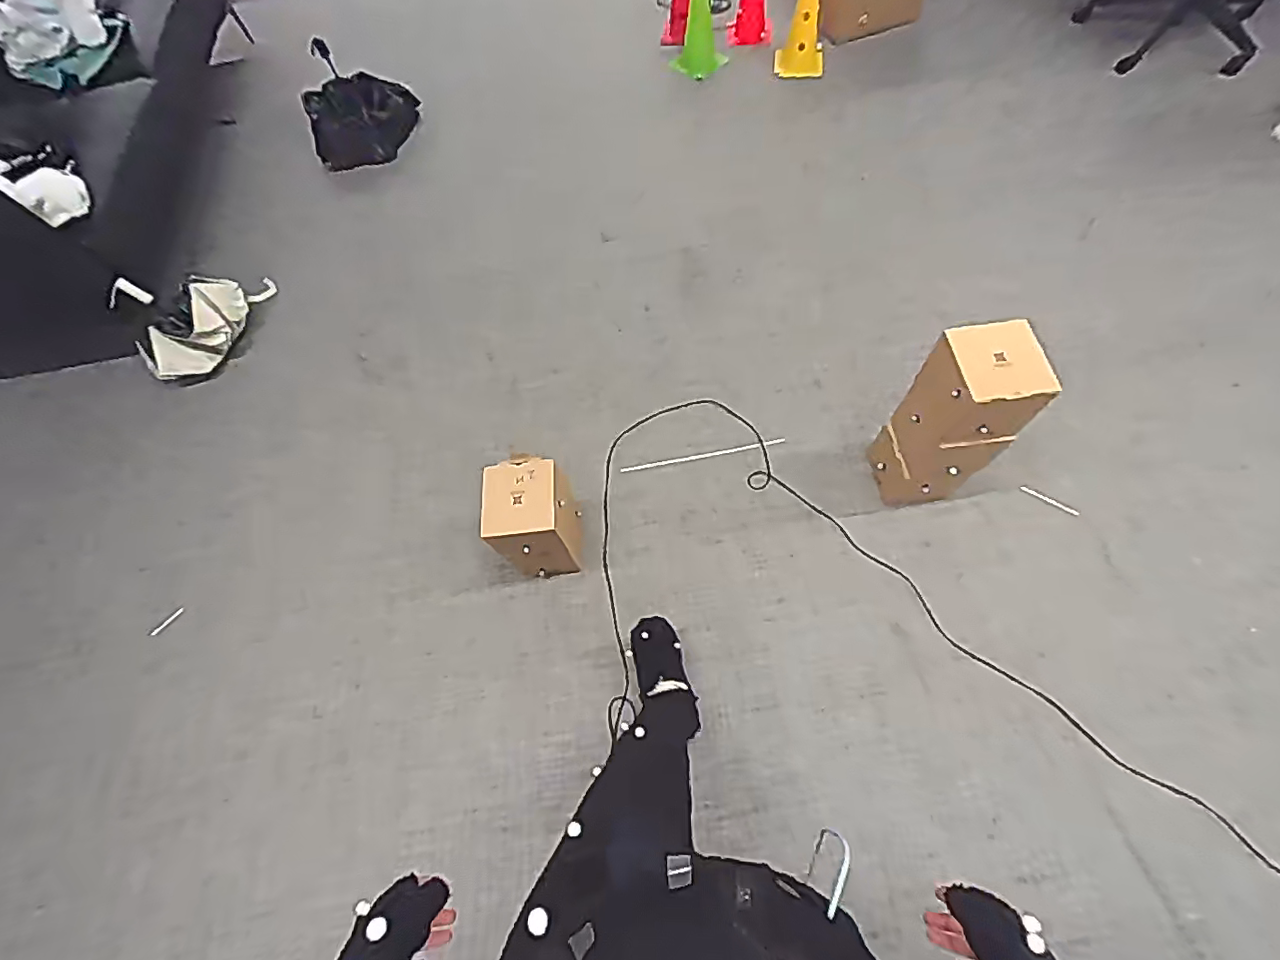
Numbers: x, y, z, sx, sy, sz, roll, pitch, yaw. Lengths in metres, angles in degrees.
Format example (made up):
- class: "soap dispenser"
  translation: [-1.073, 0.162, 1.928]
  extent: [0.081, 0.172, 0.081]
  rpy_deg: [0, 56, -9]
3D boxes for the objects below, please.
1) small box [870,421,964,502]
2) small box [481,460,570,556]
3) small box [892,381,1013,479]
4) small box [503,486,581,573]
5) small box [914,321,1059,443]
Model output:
- class: "small box"
  translation: [0.719, -0.052, 1.406]
  extent: [0.179, 0.176, 0.168]
  rpy_deg: [-8, 65, 2]
- class: "small box"
  translation: [-0.262, 0.075, 1.272]
  extent: [0.168, 0.176, 0.179]
  rpy_deg: [-6, 64, 3]
- class: "small box"
  translation: [0.712, -0.122, 1.257]
  extent: [0.168, 0.176, 0.179]
  rpy_deg: [-7, 65, 2]
- class: "small box"
  translation: [-0.250, 0.132, 1.408]
  extent: [0.168, 0.176, 0.179]
  rpy_deg: [-4, 65, 4]
- class: "small box"
  translation: [0.697, -0.198, 1.114]
  extent: [0.168, 0.176, 0.179]
  rpy_deg: [-7, 65, 2]
